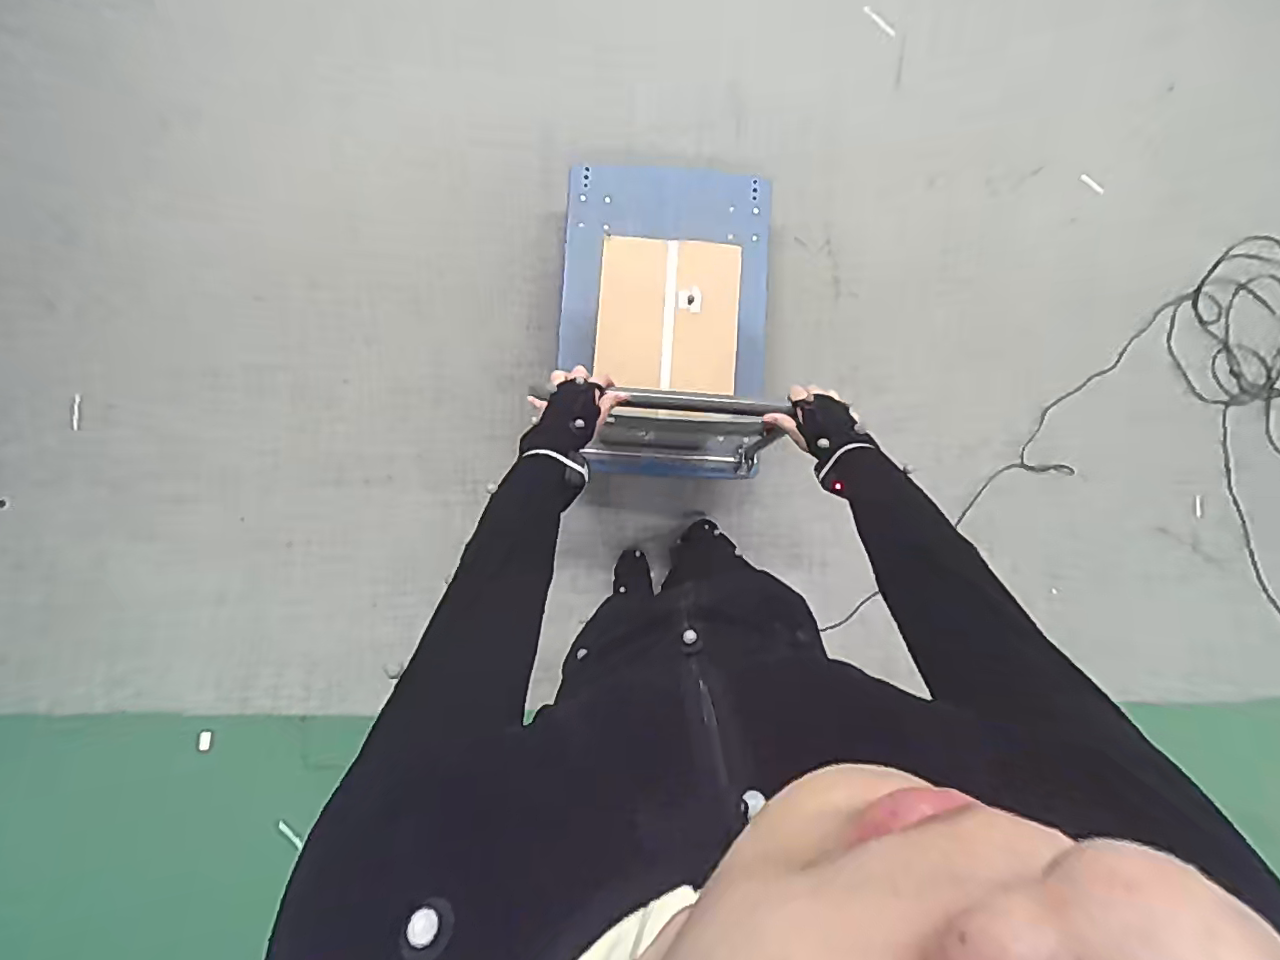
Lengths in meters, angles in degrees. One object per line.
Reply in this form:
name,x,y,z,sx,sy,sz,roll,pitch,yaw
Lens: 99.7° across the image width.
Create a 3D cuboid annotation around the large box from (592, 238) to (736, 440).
large box,0.053,-0.326,1.351,0.320,0.320,0.408,4,84,-2
